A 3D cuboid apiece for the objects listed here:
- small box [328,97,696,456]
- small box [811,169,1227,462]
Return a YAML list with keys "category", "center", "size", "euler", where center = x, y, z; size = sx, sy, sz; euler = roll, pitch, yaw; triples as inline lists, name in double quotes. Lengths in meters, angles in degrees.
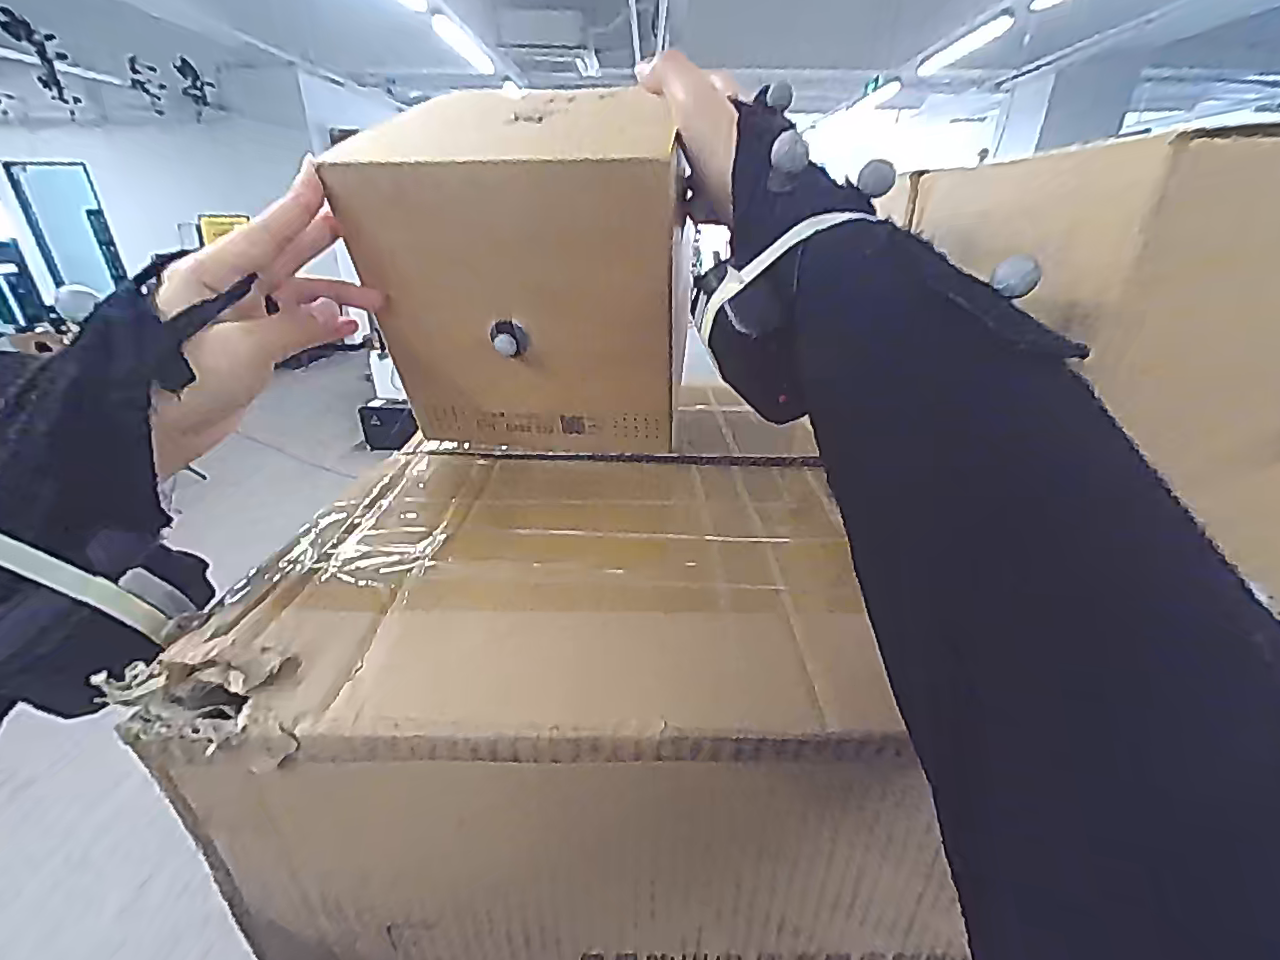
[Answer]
- category: "small box"
  center: [-0.051, -0.132, 0.355]
  size: [0.168, 0.176, 0.179]
  euler: [4, 44, 7]
- category: "small box"
  center: [0.232, -0.117, 0.393]
  size: [0.179, 0.176, 0.168]
  euler: [0, 25, 1]
